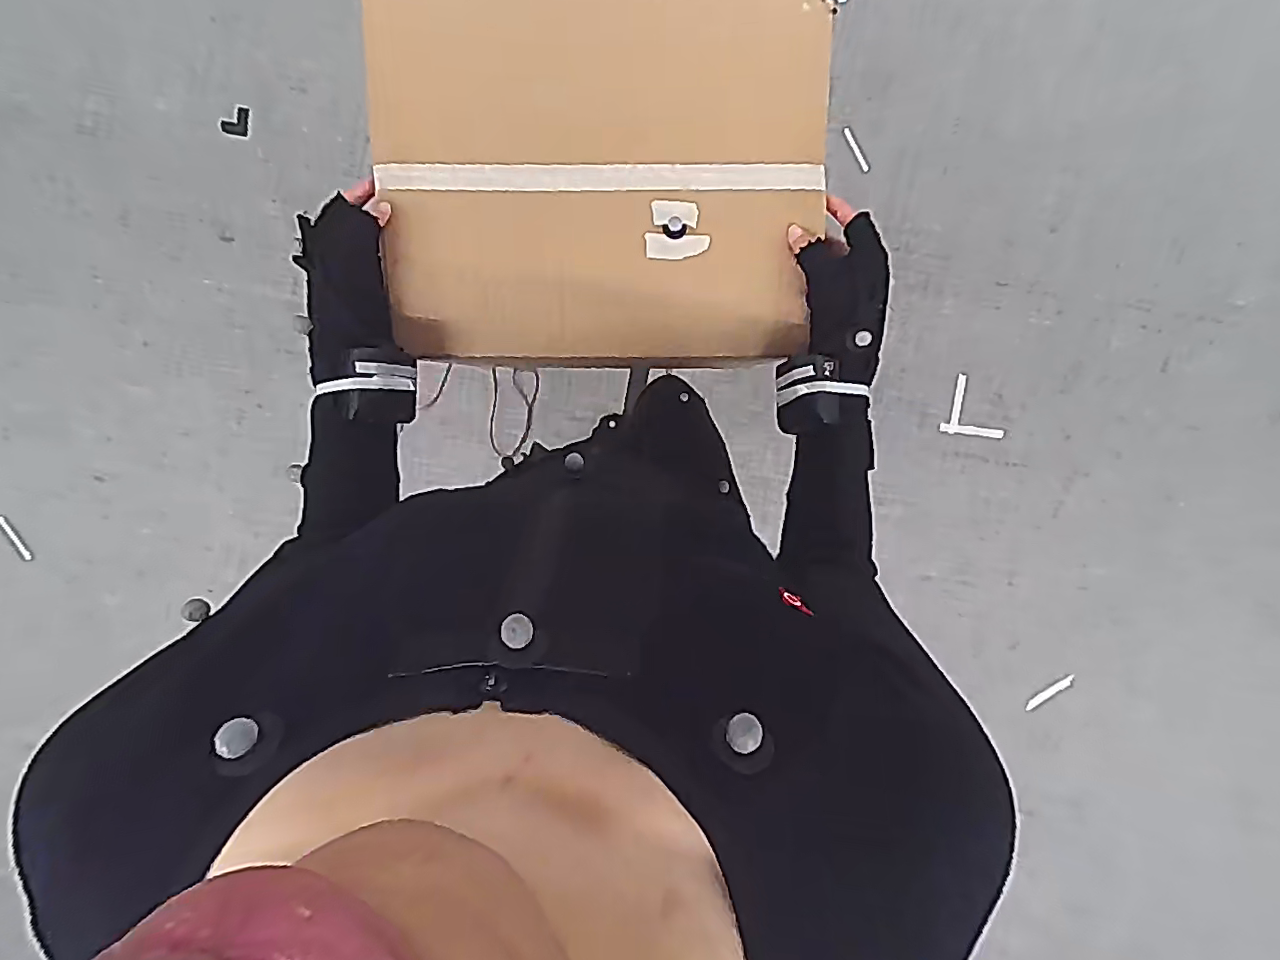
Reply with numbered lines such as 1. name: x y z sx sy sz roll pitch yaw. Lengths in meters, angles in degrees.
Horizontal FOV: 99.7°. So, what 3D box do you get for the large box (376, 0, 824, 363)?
1. large box: -0.037 -0.309 0.645 0.408 0.320 0.320 0 100 -1
